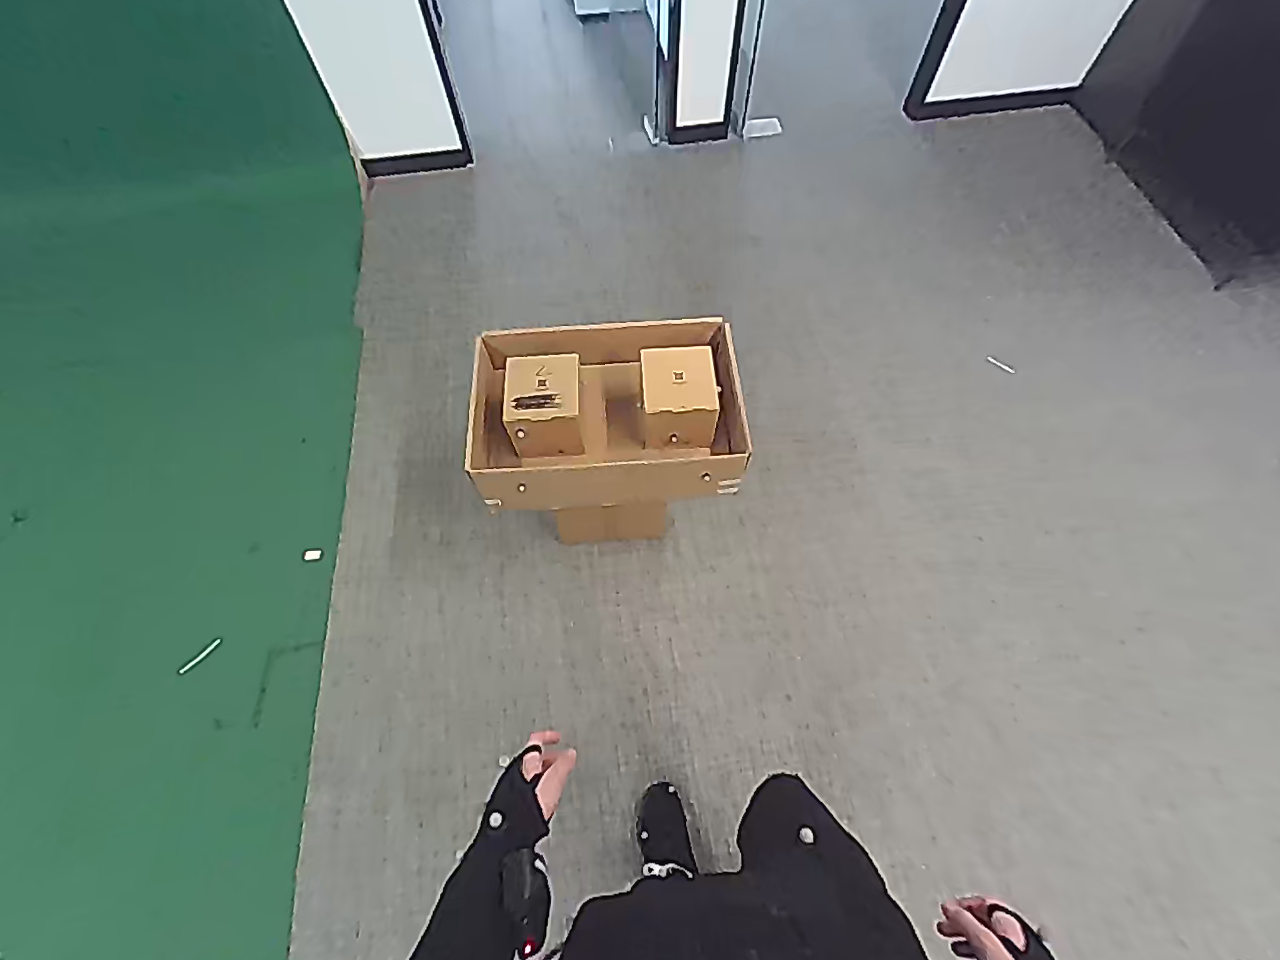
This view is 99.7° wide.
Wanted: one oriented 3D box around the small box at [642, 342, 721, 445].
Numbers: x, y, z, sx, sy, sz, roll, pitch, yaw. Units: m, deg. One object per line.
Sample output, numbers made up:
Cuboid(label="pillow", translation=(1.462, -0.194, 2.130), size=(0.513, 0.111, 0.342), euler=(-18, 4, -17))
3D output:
Cuboid(label="small box", translation=(0.091, -0.201, 1.278), size=(0.168, 0.176, 0.179), euler=(-4, 64, -1))
